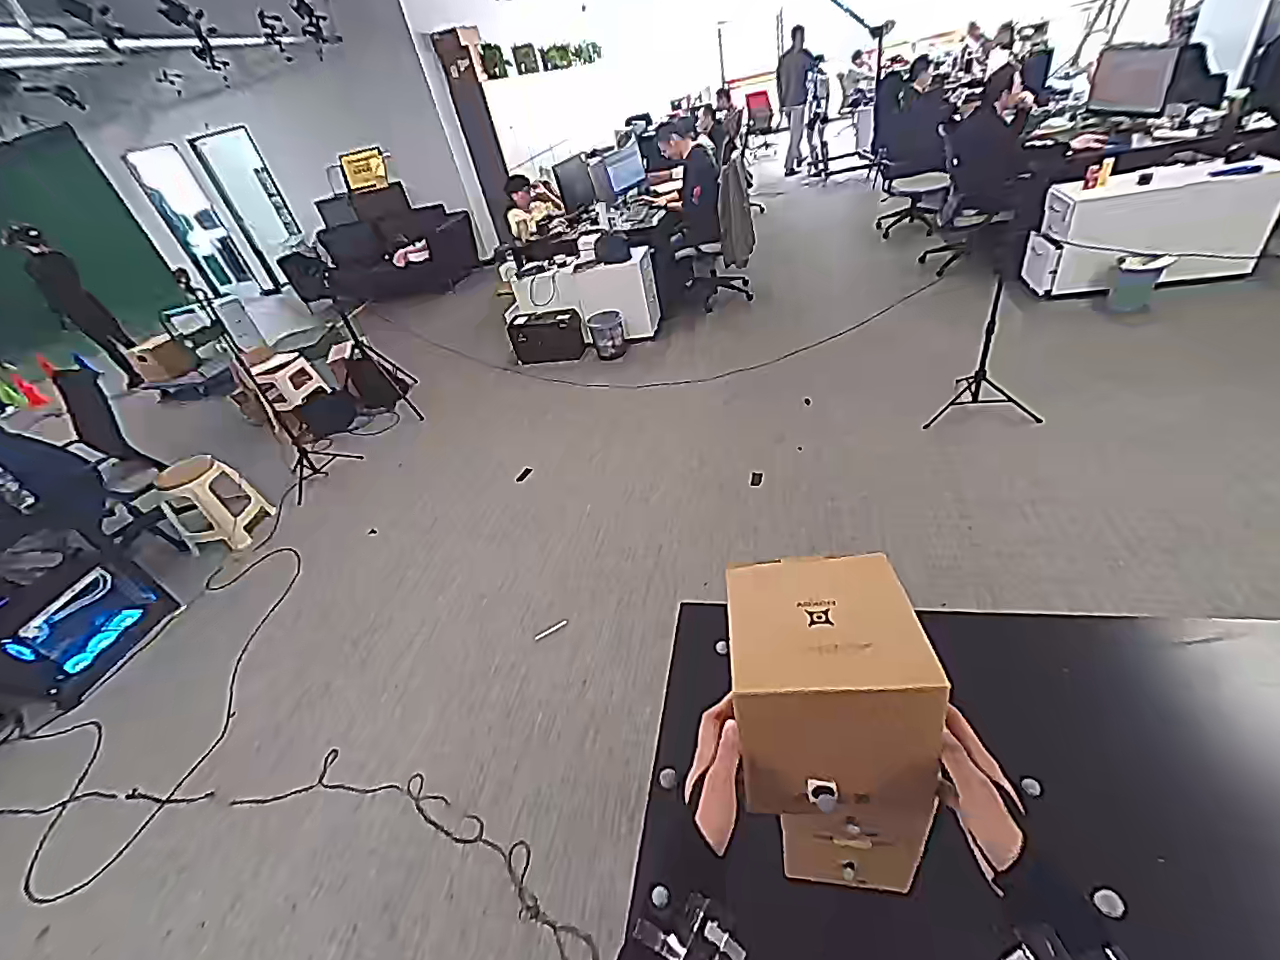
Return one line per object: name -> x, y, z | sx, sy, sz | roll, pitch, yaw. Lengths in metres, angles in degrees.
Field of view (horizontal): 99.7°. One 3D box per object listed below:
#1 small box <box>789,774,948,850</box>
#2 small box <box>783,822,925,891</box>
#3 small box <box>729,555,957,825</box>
small box -> 0.258, 0.319, 0.669 | 0.168, 0.176, 0.179 | -3, 38, 15
small box -> 0.289, 0.449, 0.765 | 0.168, 0.176, 0.179 | -3, 38, 14
small box -> 0.177, 0.194, 0.522 | 0.168, 0.176, 0.179 | -7, 27, 9
